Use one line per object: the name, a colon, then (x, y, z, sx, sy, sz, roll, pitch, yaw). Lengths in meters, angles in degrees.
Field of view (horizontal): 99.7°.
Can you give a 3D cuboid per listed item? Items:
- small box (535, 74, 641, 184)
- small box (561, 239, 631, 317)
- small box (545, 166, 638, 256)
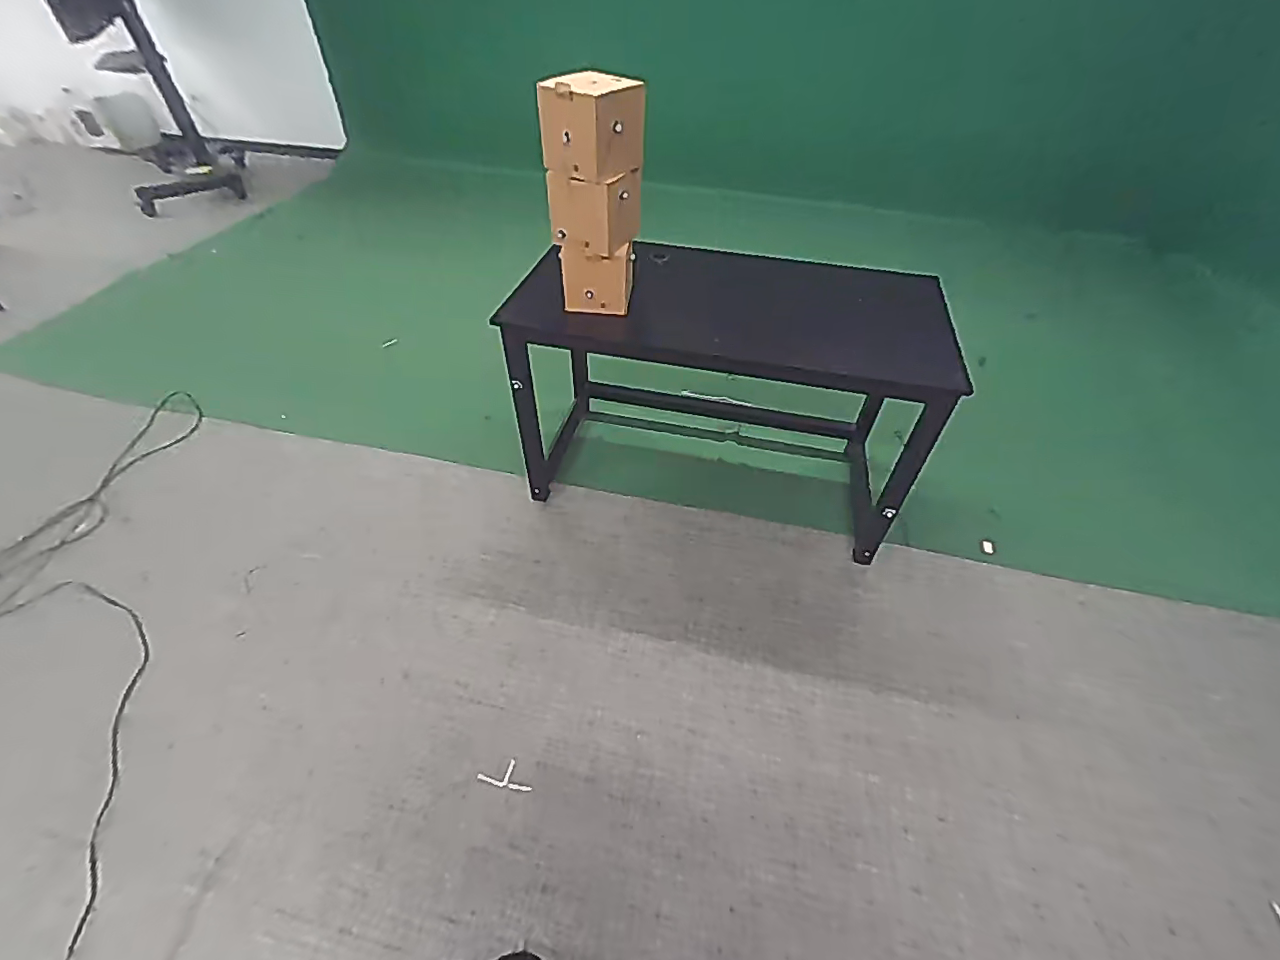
small box: (-0.111, -0.801, 1.235, 0.168, 0.176, 0.179, 30, 54, 23)
small box: (-0.115, -0.568, 1.467, 0.168, 0.176, 0.179, 5, 47, 2)
small box: (-0.115, -0.682, 1.349, 0.168, 0.176, 0.179, 21, 49, 16)
